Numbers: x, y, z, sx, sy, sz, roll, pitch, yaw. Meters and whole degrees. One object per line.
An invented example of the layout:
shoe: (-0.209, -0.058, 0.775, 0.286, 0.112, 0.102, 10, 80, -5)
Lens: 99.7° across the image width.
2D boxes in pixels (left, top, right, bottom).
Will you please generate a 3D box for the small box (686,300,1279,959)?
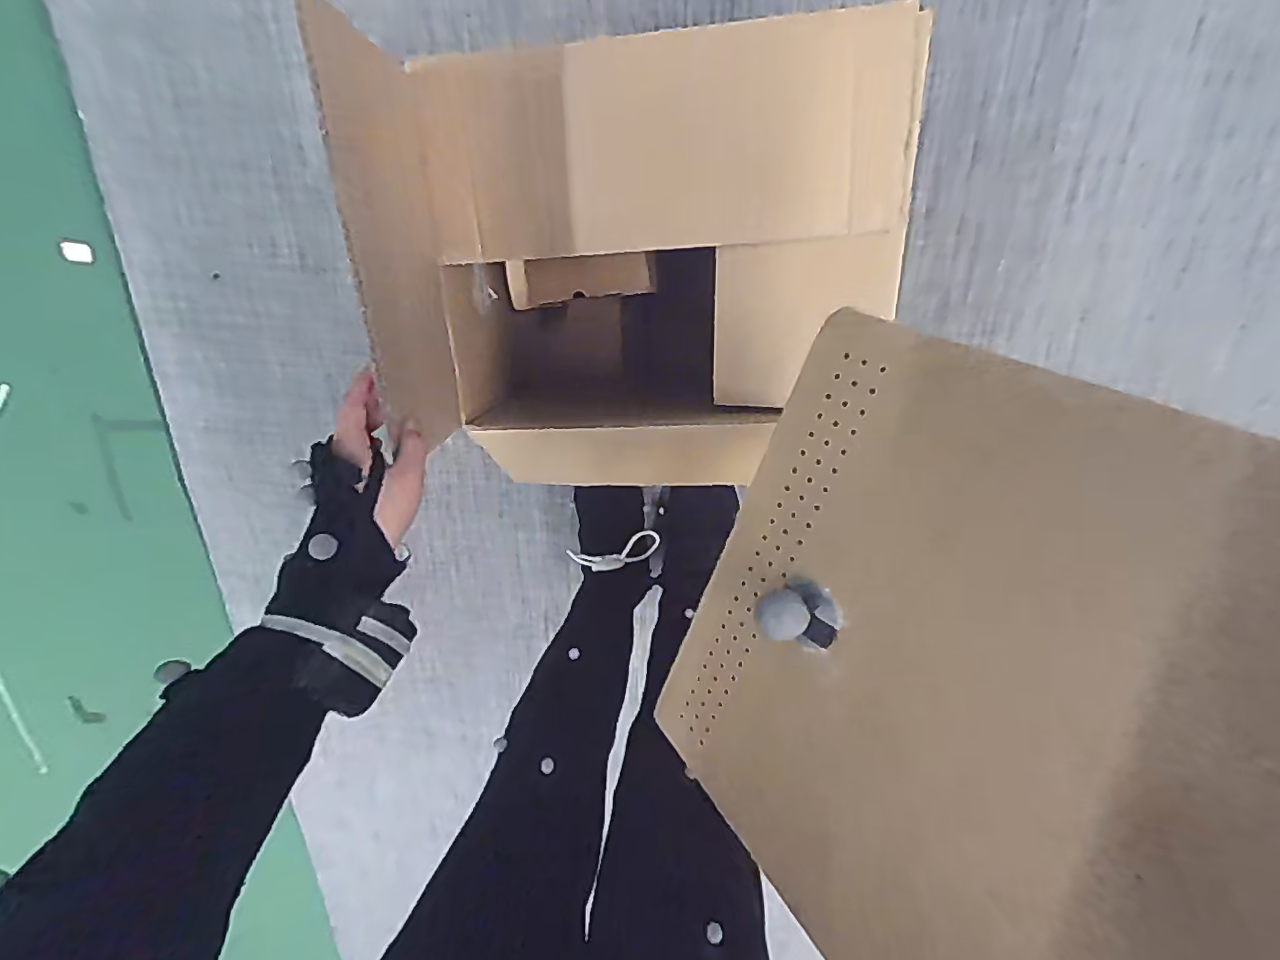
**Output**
small box: (0.141, 0.057, 0.193, 0.168, 0.176, 0.179, 1, 118, -38)
